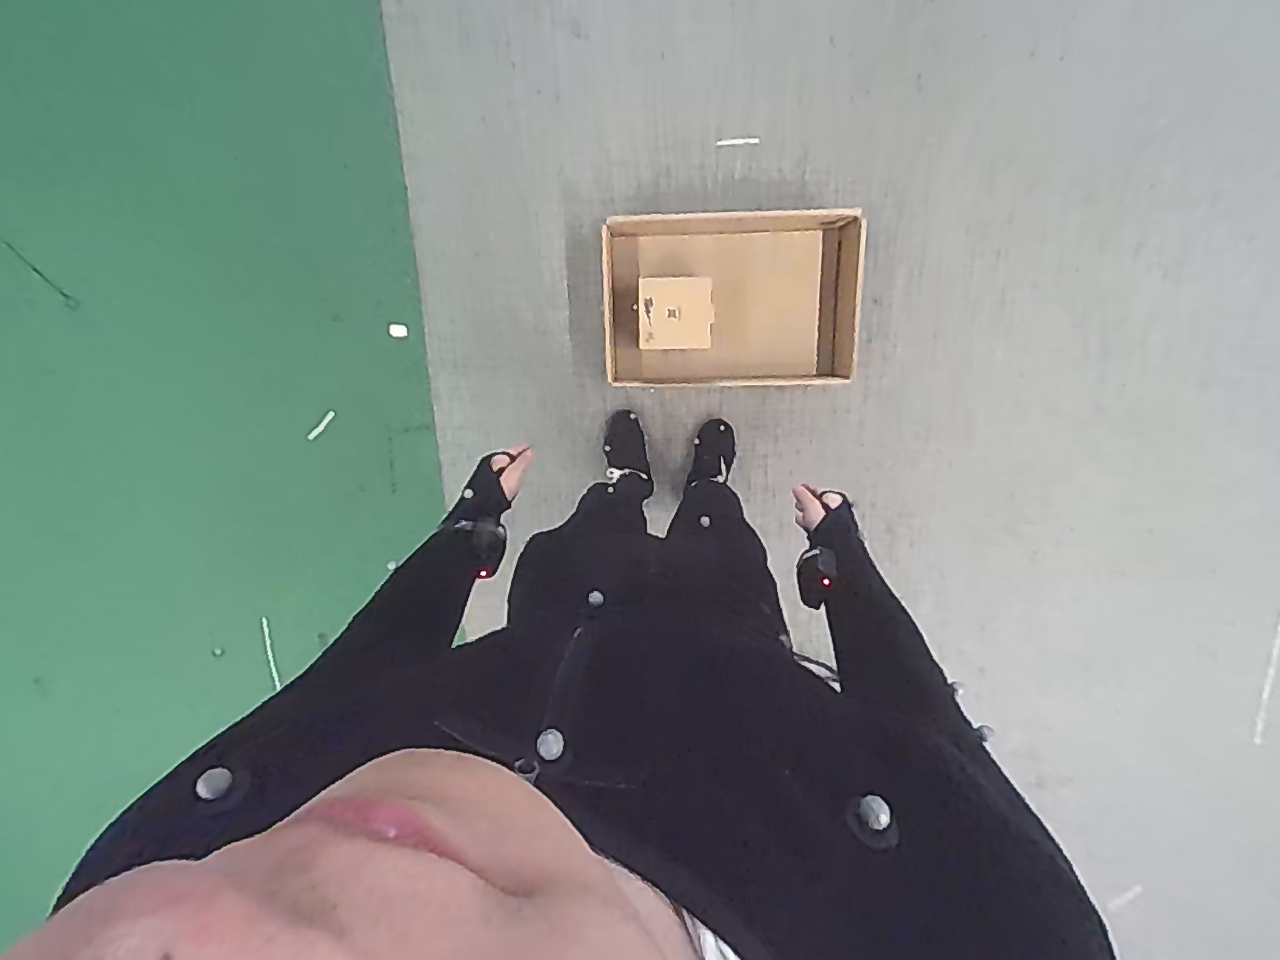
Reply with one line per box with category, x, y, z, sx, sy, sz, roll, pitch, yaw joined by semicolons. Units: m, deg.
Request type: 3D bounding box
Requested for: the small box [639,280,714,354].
small box;0.086;-0.405;1.354;0.179;0.176;0.168;-1;102;0
